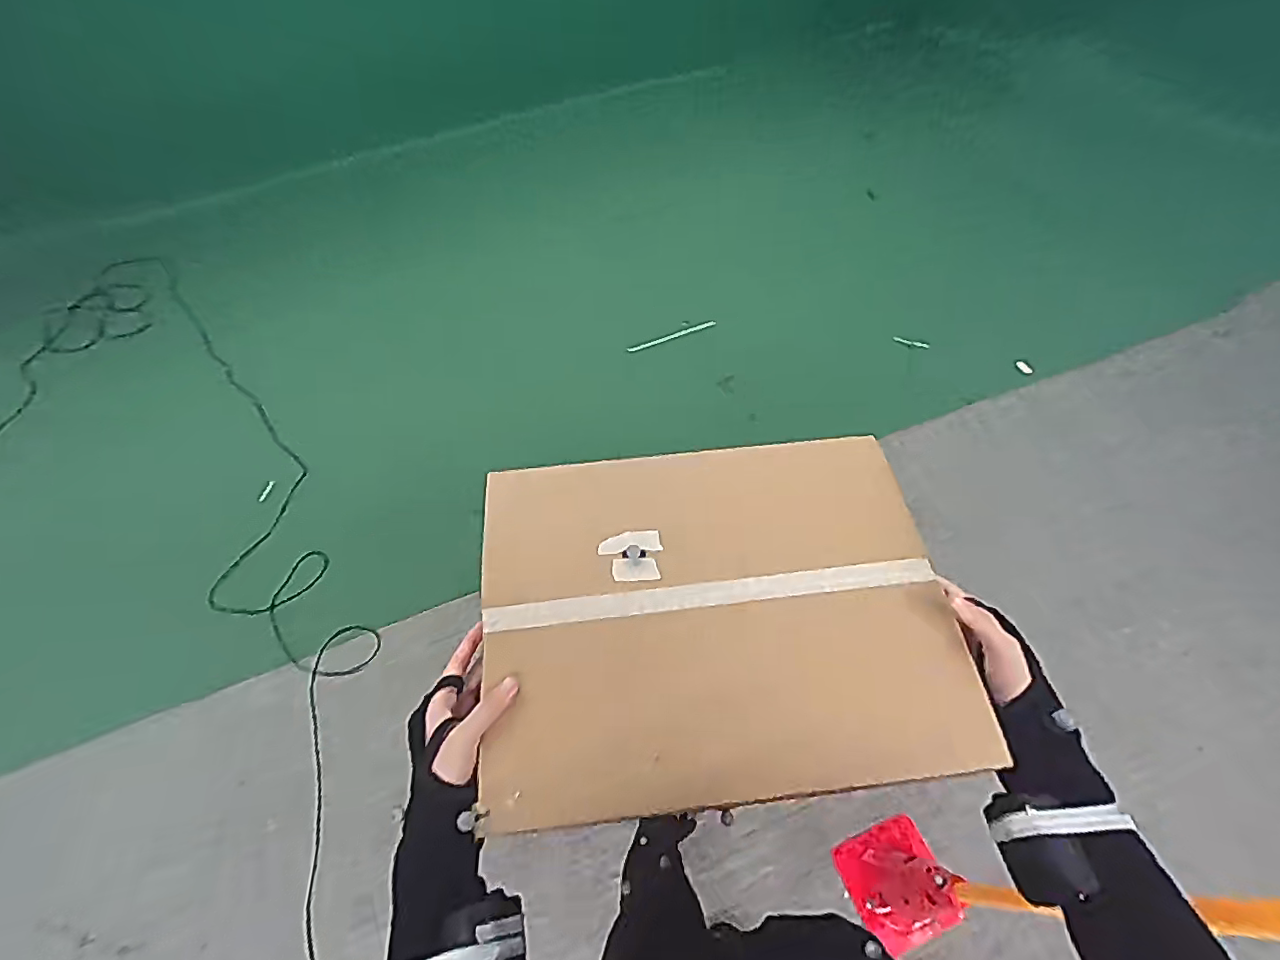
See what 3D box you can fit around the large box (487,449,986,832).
[{"bbox_3d":[0.069,0.192,0.622,0.408,0.320,0.320,-5,58,-1],"label":"large box"}]
